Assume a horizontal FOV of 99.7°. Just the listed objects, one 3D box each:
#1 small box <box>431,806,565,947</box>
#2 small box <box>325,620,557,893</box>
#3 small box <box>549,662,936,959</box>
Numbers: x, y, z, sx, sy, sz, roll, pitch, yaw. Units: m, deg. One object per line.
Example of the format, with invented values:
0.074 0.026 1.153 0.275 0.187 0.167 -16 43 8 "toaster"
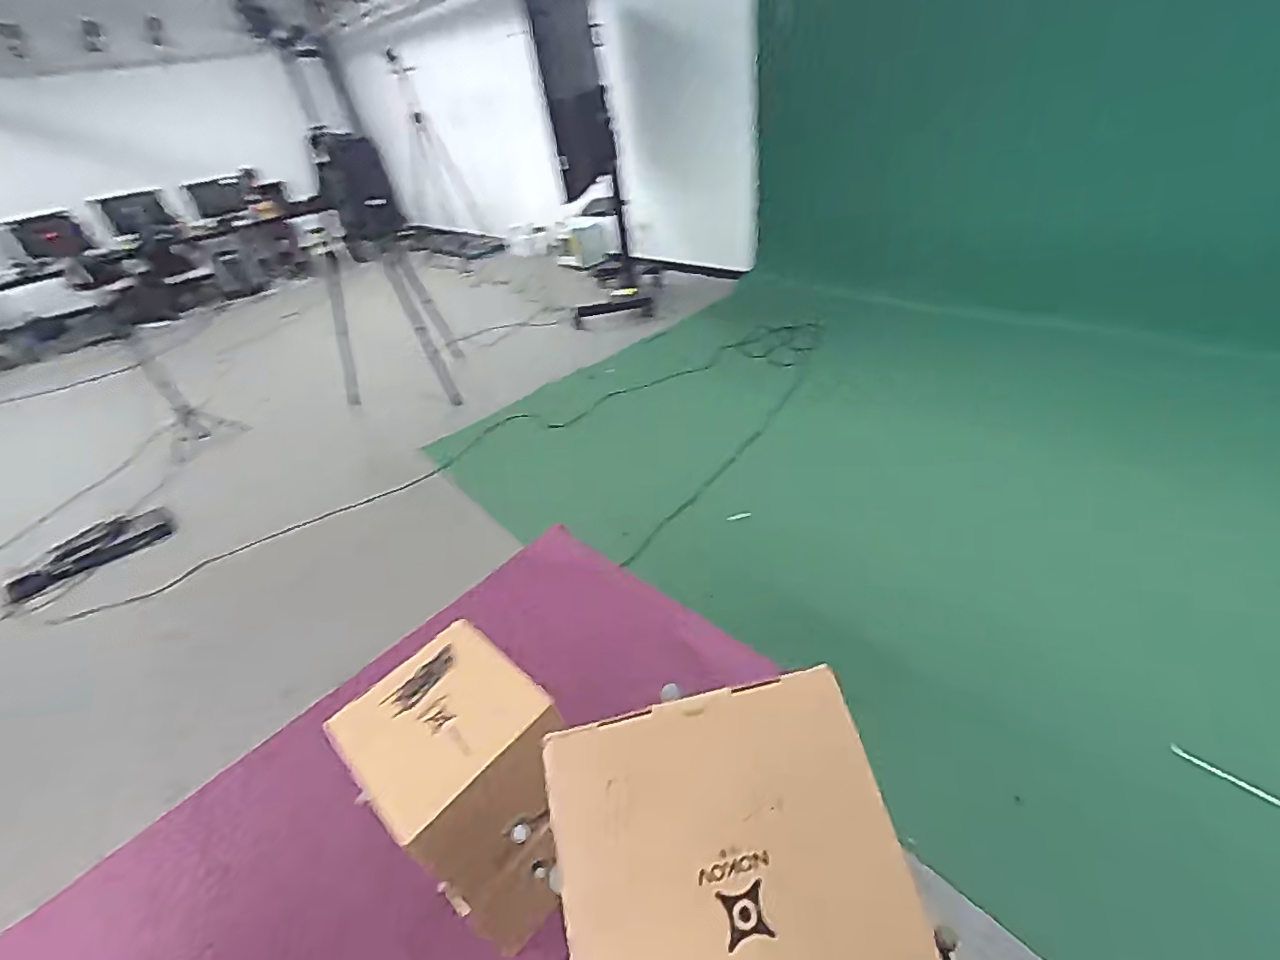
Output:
-0.165 0.428 0.681 0.179 0.176 0.168 -36 44 -30 "small box"
-0.195 0.295 0.589 0.179 0.176 0.168 24 49 36 "small box"
0.043 0.228 0.330 0.168 0.176 0.179 -10 64 -7 "small box"
